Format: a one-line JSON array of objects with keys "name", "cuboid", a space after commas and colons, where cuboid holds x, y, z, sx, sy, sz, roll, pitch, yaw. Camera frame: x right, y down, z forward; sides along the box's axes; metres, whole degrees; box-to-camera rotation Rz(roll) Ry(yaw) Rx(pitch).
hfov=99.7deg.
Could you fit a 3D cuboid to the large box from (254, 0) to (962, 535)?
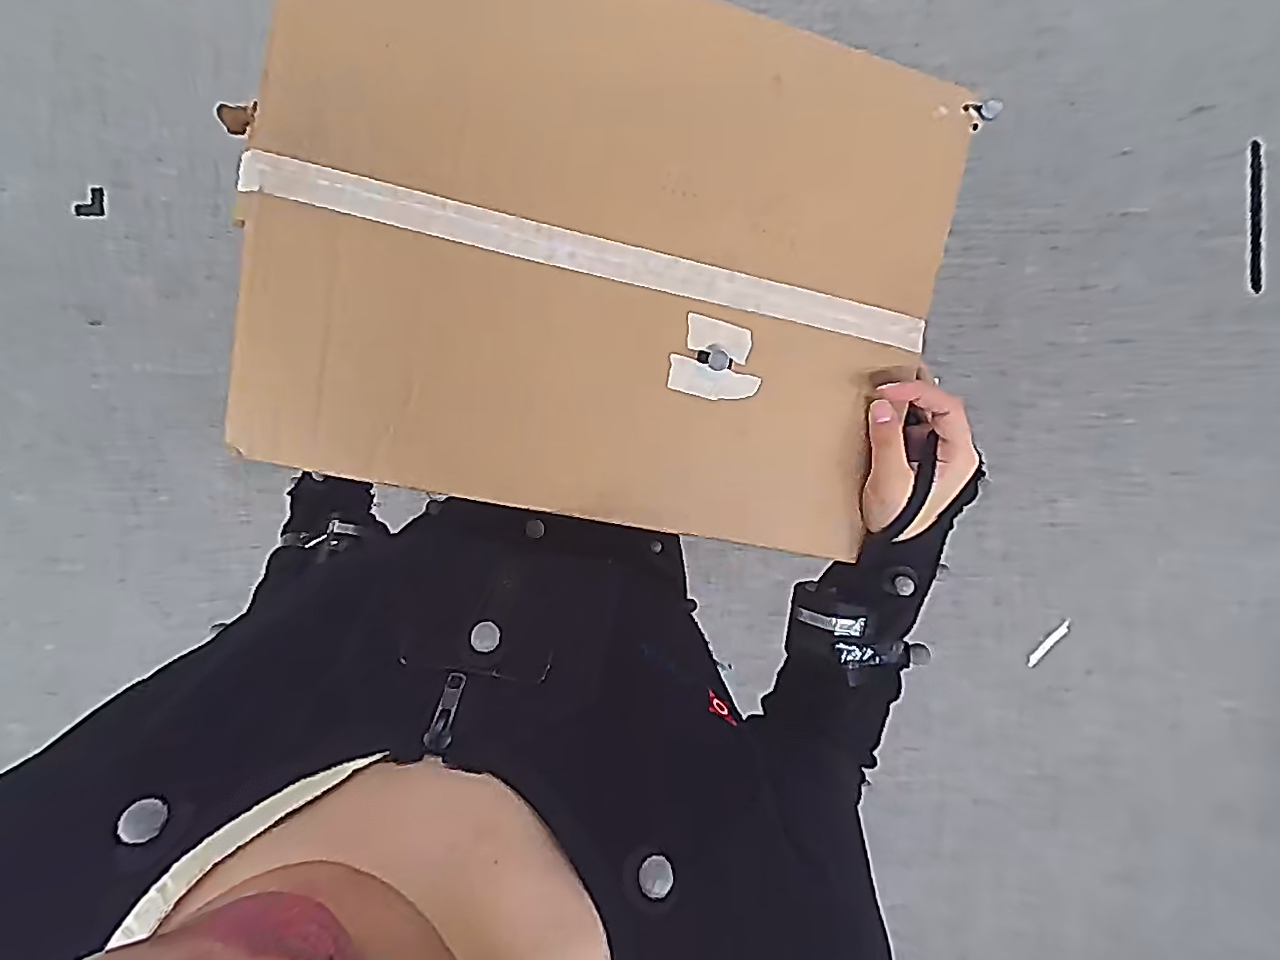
[{"name": "large box", "cuboid": [-0.032, -0.159, 0.478, 0.408, 0.320, 0.320, 10, 97, -11]}]
